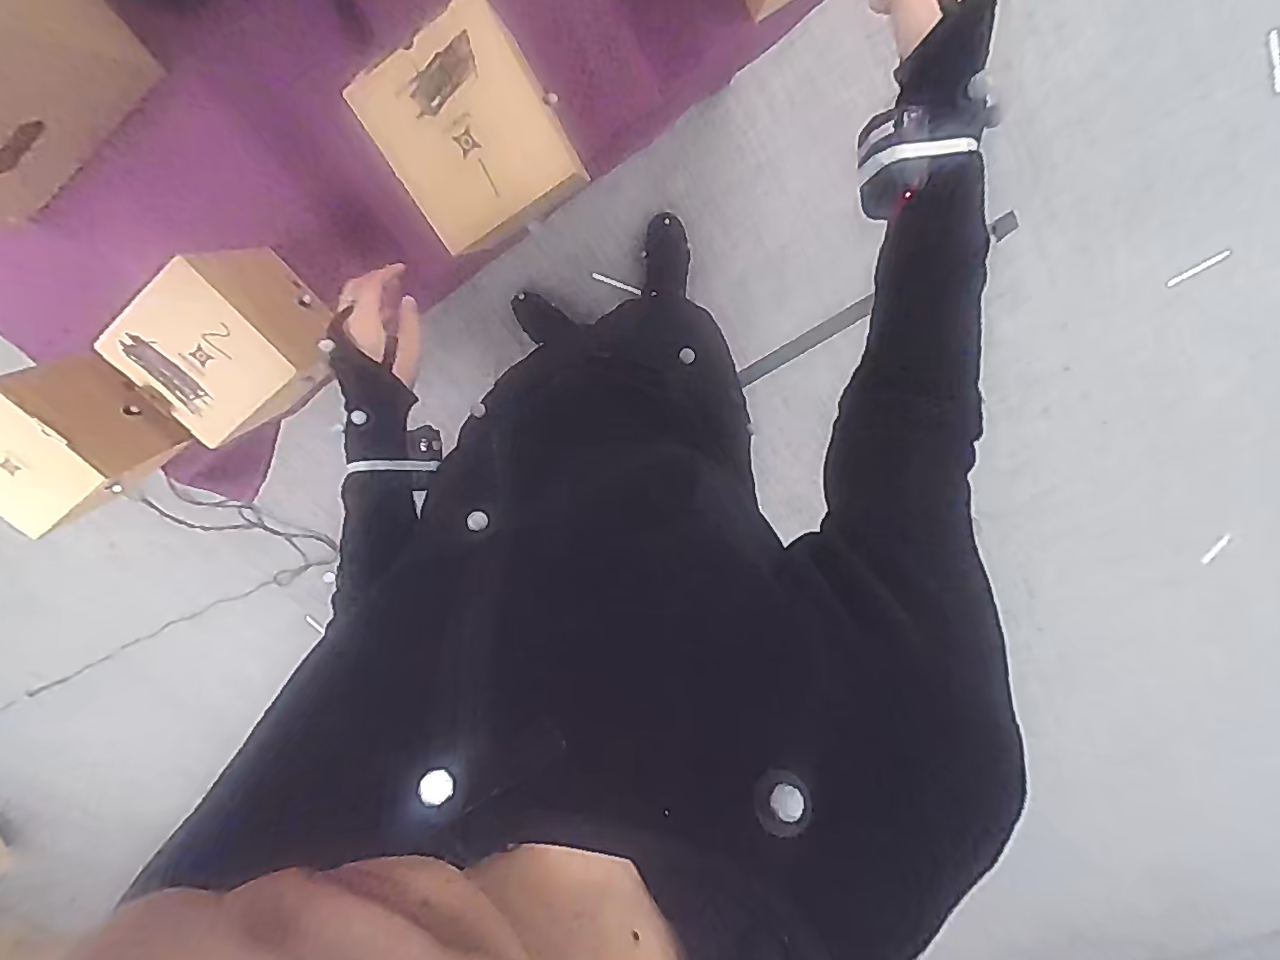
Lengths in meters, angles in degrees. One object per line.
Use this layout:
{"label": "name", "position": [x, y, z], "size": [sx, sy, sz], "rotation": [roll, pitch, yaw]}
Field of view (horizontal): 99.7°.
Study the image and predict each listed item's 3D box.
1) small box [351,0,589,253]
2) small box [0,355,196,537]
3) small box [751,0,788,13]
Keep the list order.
{"label": "small box", "position": [-0.174, -0.385, 0.615], "size": [0.168, 0.176, 0.179], "rotation": [-27, 114, 14]}
{"label": "small box", "position": [-0.811, -0.055, 0.783], "size": [0.179, 0.176, 0.168], "rotation": [-32, 112, 14]}
{"label": "small box", "position": [0.164, -0.599, 0.504], "size": [0.168, 0.176, 0.179], "rotation": [-25, 113, 13]}
